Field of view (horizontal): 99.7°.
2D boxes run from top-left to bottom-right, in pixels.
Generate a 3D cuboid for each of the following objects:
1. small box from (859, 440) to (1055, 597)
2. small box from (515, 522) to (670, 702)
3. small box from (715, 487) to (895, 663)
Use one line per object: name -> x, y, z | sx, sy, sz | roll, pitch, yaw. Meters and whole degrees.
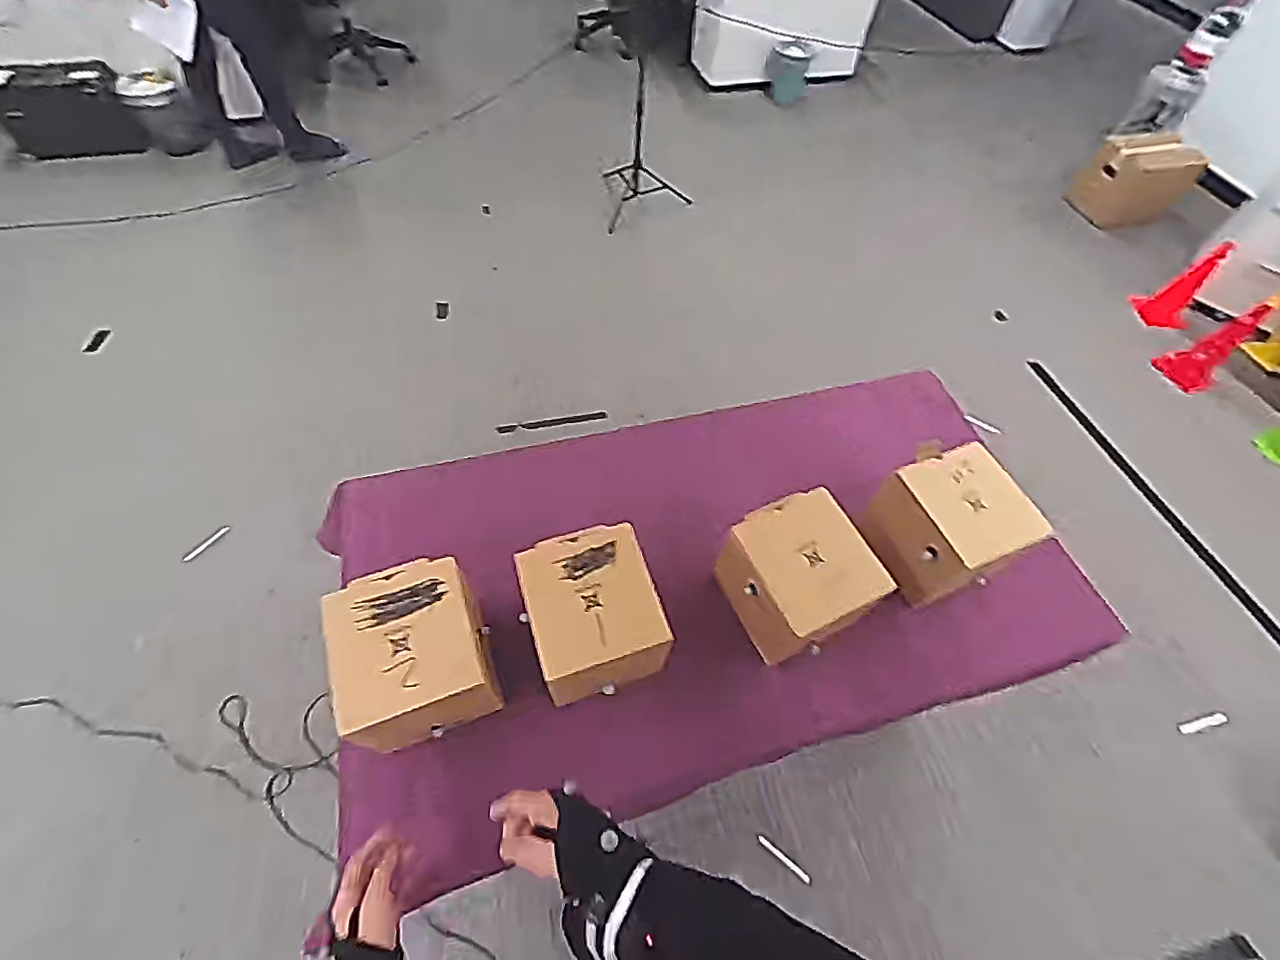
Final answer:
small box -> 0.490, 0.070, 0.867 | 0.168, 0.176, 0.179 | -17, 60, -14
small box -> -0.070, 0.189, 0.763 | 0.168, 0.176, 0.179 | -15, 61, -12
small box -> 0.229, 0.145, 0.809 | 0.168, 0.176, 0.179 | -21, 61, -15
